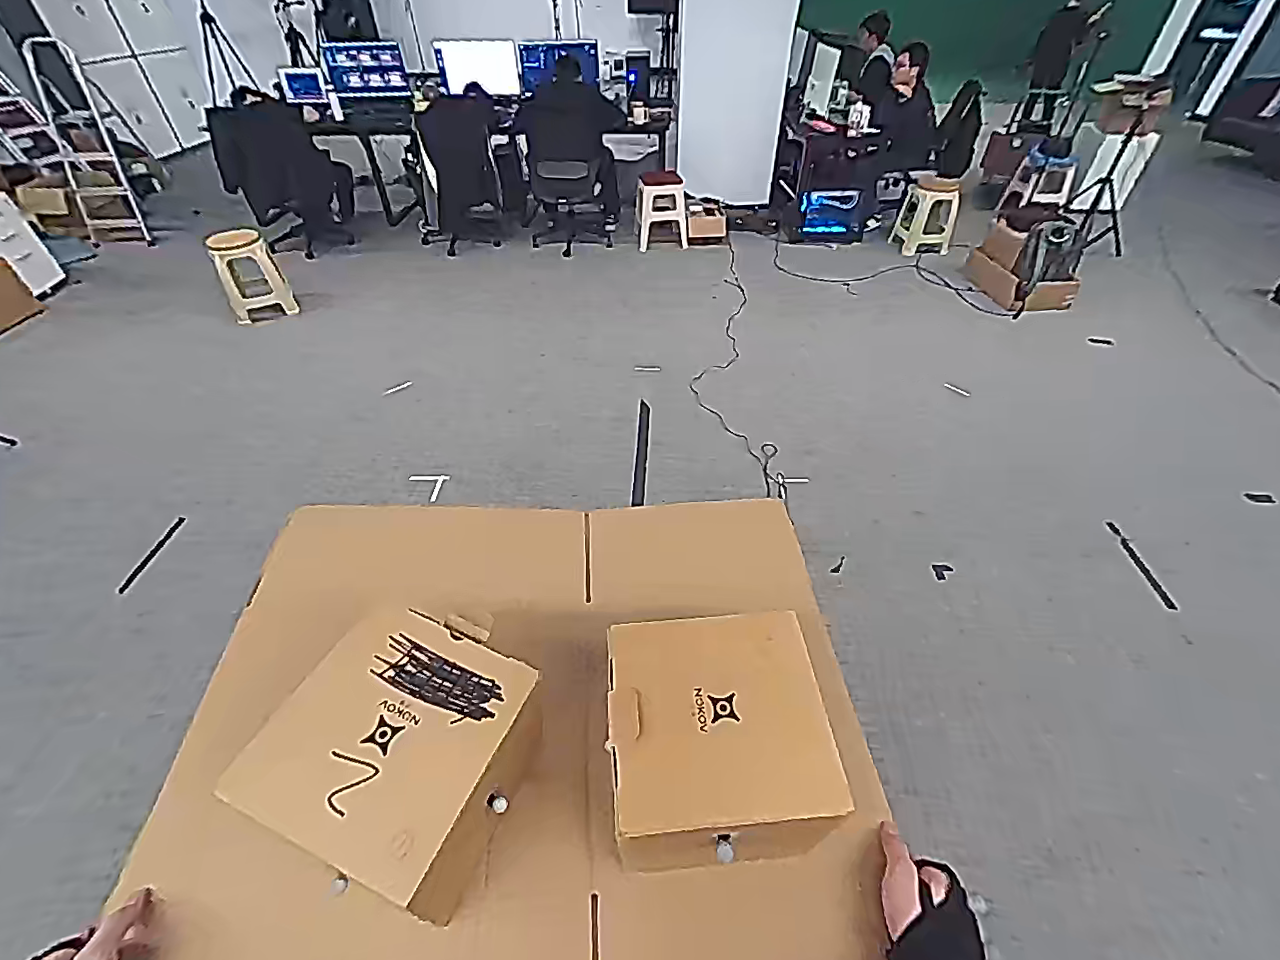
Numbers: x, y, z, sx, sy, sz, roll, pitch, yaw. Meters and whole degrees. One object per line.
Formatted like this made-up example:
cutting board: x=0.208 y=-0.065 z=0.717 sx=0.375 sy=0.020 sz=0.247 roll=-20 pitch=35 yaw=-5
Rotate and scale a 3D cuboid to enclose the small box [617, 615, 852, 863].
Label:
small box: x=0.071 y=0.248 z=0.517 sx=0.179 sy=0.176 sz=0.168 roll=-5 pitch=47 yaw=-2
